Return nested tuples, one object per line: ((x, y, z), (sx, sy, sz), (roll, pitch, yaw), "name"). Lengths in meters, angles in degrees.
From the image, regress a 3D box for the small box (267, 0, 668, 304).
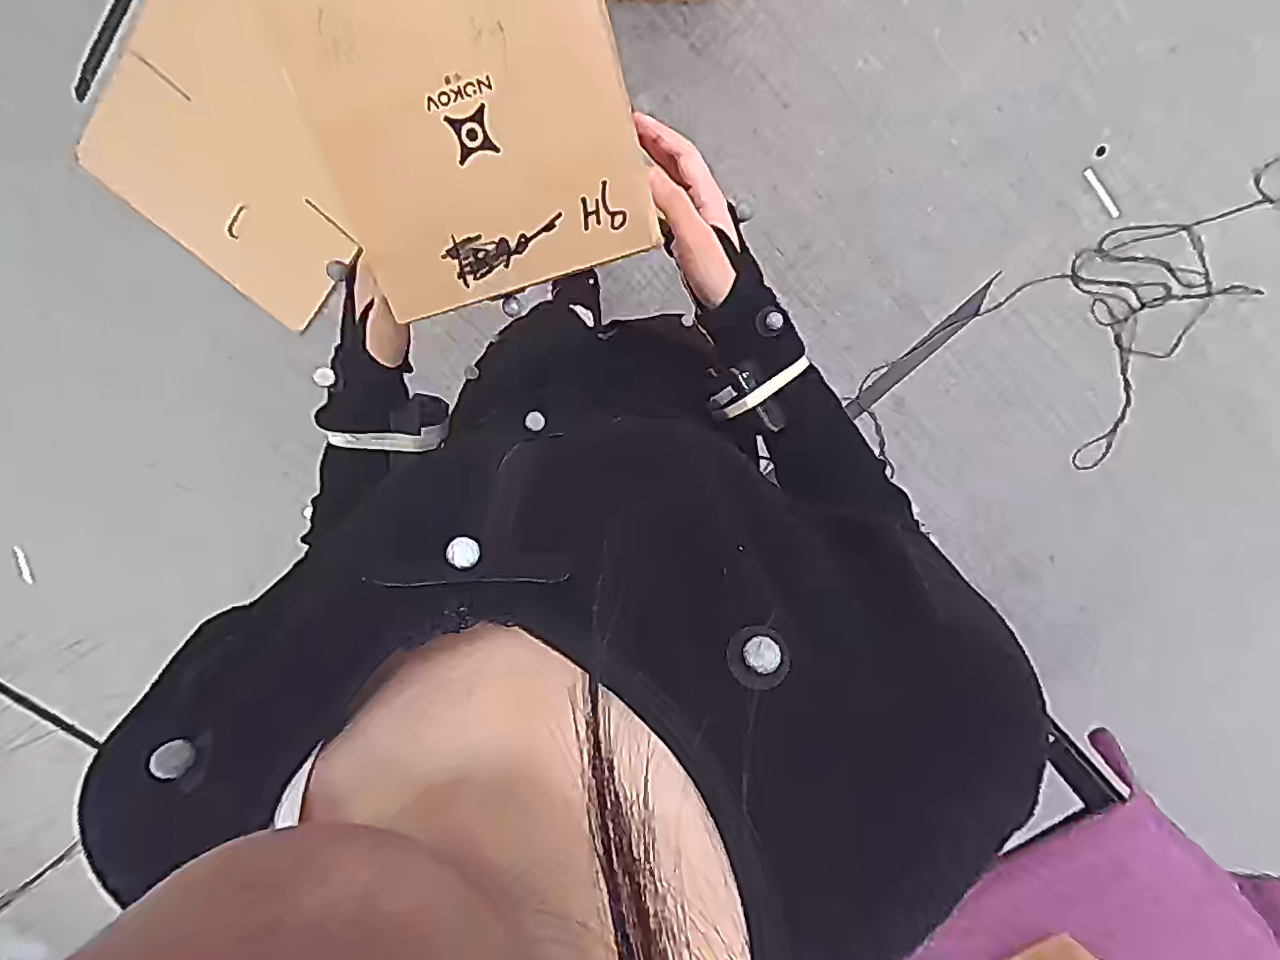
((-0.083, -0.226, 0.346), (0.168, 0.176, 0.179), (-14, 112, 8), "small box")

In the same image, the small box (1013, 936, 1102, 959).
((0.836, 1.011, 1.016), (0.179, 0.176, 0.168), (41, 105, -13), "small box")
